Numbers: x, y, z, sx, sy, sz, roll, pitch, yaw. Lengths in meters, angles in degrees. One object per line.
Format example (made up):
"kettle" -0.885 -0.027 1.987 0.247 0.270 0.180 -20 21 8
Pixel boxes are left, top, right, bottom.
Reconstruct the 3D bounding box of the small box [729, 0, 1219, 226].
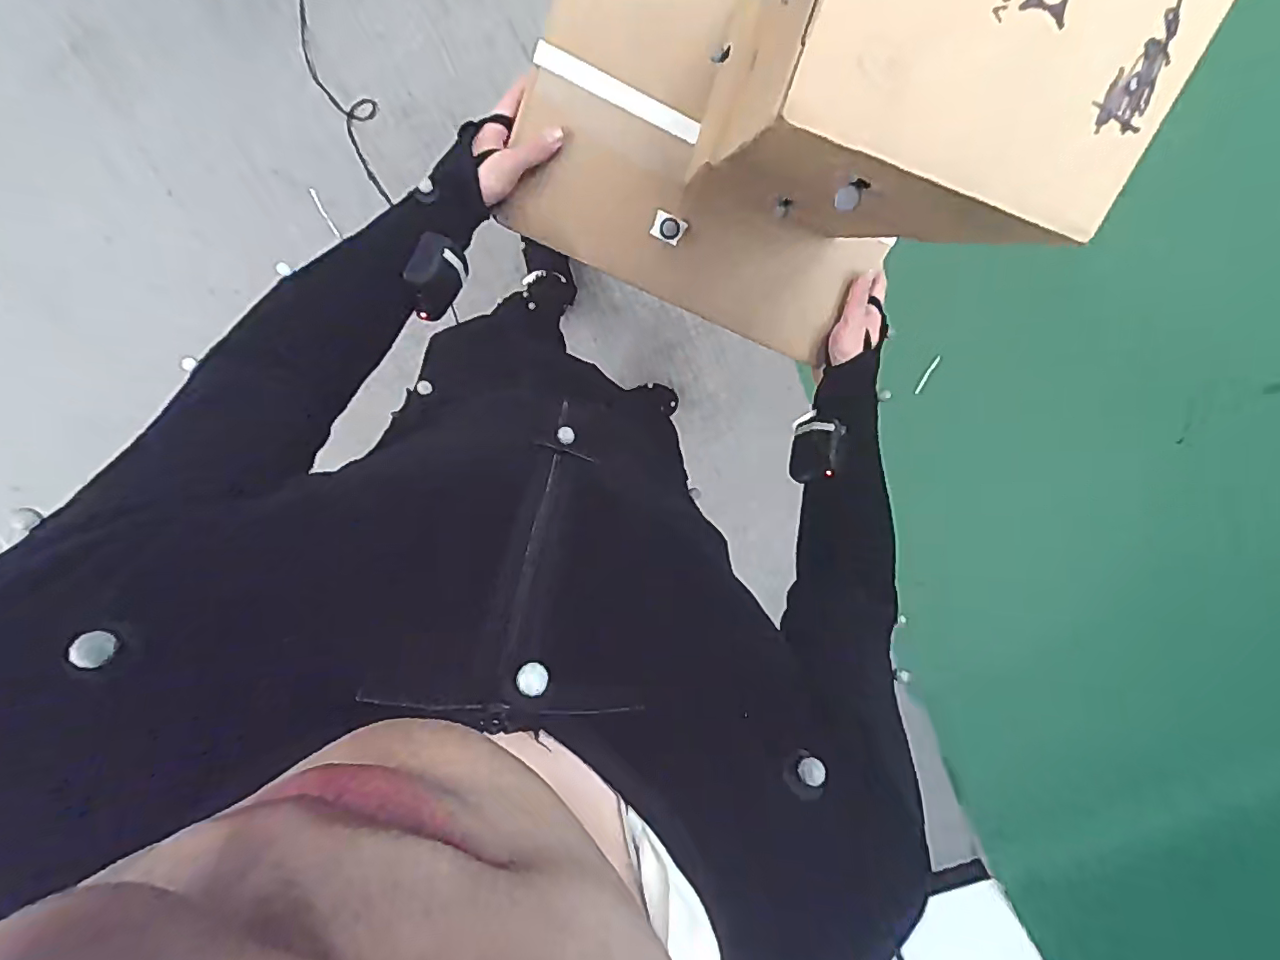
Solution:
"small box" 0.164 -0.253 0.302 0.179 0.176 0.168 16 112 -7

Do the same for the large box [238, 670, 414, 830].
"large box" -1.045 0.900 1.828 0.408 0.320 0.320 17 110 -7

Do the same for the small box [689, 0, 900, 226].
"small box" 0.150 -0.321 0.450 0.179 0.176 0.168 15 113 -8
